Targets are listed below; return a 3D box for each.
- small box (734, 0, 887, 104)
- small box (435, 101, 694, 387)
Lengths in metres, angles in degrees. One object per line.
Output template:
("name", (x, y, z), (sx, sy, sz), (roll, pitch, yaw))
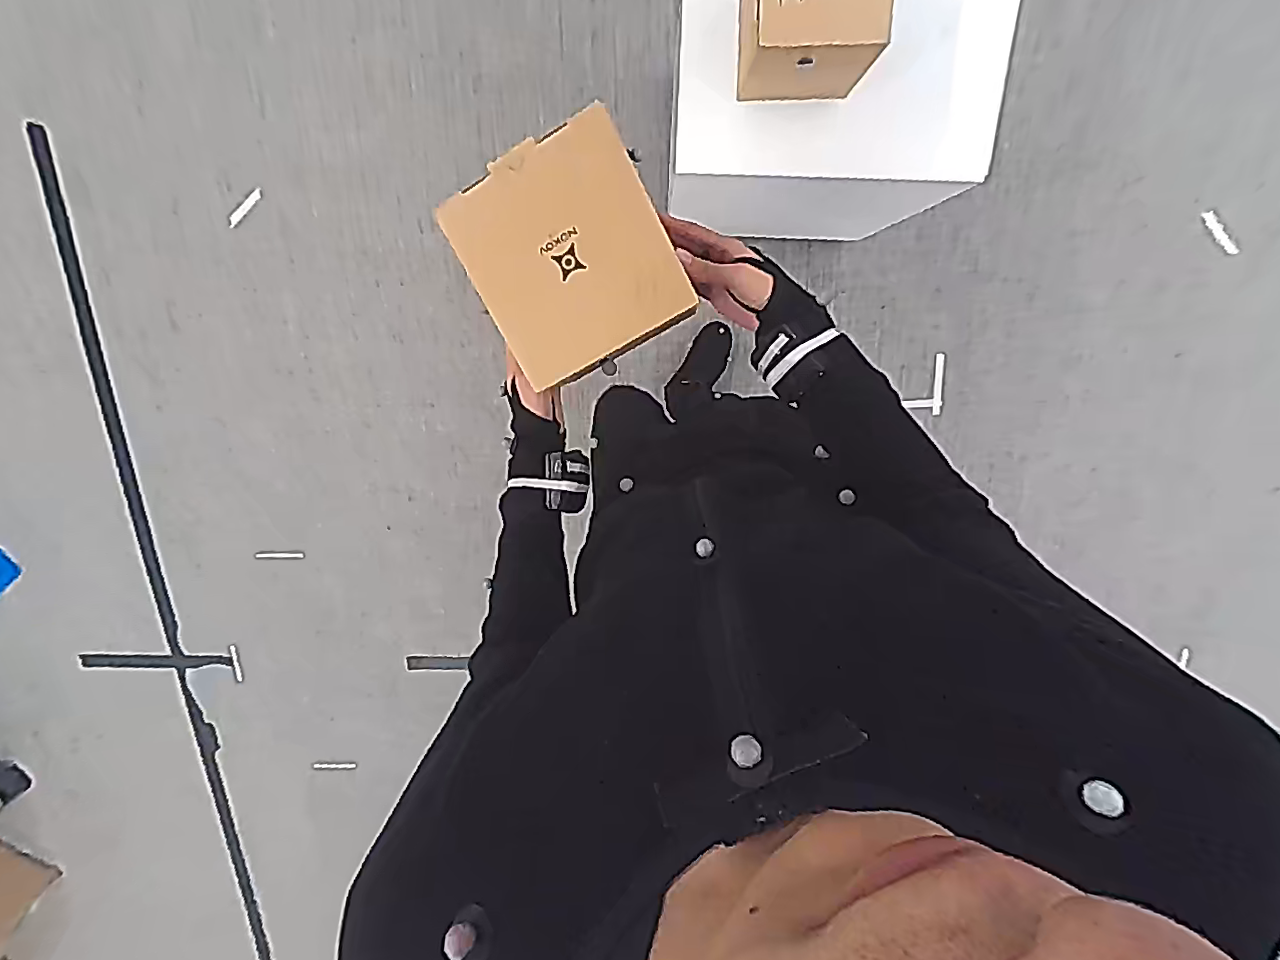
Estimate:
("small box", (0.232, -0.661, 0.769), (0.179, 0.176, 0.168), (-1, 105, 0))
("small box", (-0.055, -0.209, 0.530), (0.168, 0.176, 0.179), (-27, 99, 10))
